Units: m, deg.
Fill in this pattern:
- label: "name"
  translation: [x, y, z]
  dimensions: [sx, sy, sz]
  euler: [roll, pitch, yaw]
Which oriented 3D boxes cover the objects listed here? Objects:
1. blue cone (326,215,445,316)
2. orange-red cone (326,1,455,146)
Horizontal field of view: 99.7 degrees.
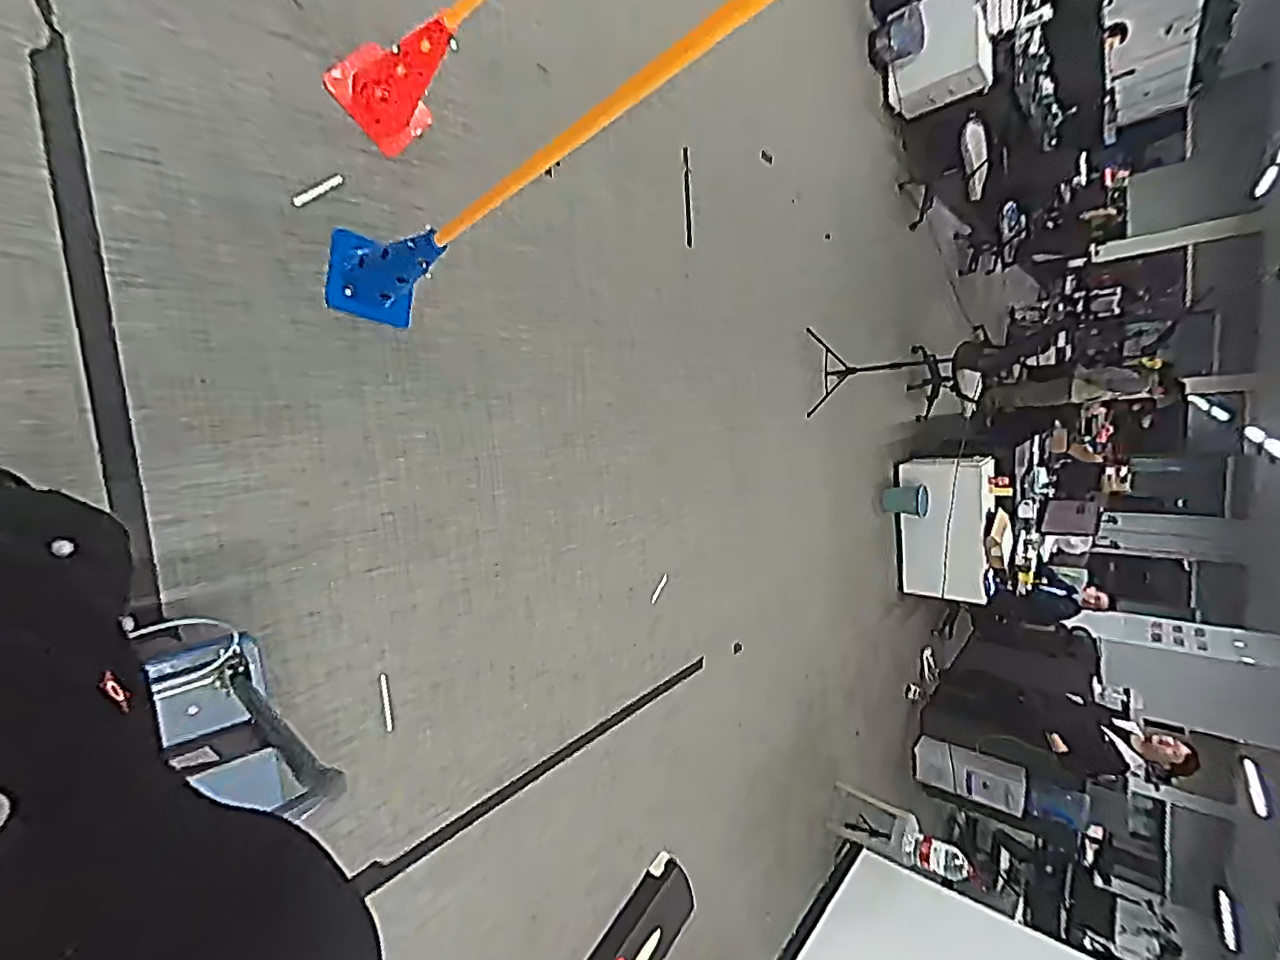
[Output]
- label: "blue cone"
  translation: [-0.545, -0.510, 1.219]
  dimensions: [0.193, 0.380, 0.192]
  euler: [10, 83, -47]
- label: "orange-red cone"
  translation: [-0.516, -0.953, 1.217]
  dimensions: [0.198, 0.360, 0.199]
  euler: [48, 59, -36]
